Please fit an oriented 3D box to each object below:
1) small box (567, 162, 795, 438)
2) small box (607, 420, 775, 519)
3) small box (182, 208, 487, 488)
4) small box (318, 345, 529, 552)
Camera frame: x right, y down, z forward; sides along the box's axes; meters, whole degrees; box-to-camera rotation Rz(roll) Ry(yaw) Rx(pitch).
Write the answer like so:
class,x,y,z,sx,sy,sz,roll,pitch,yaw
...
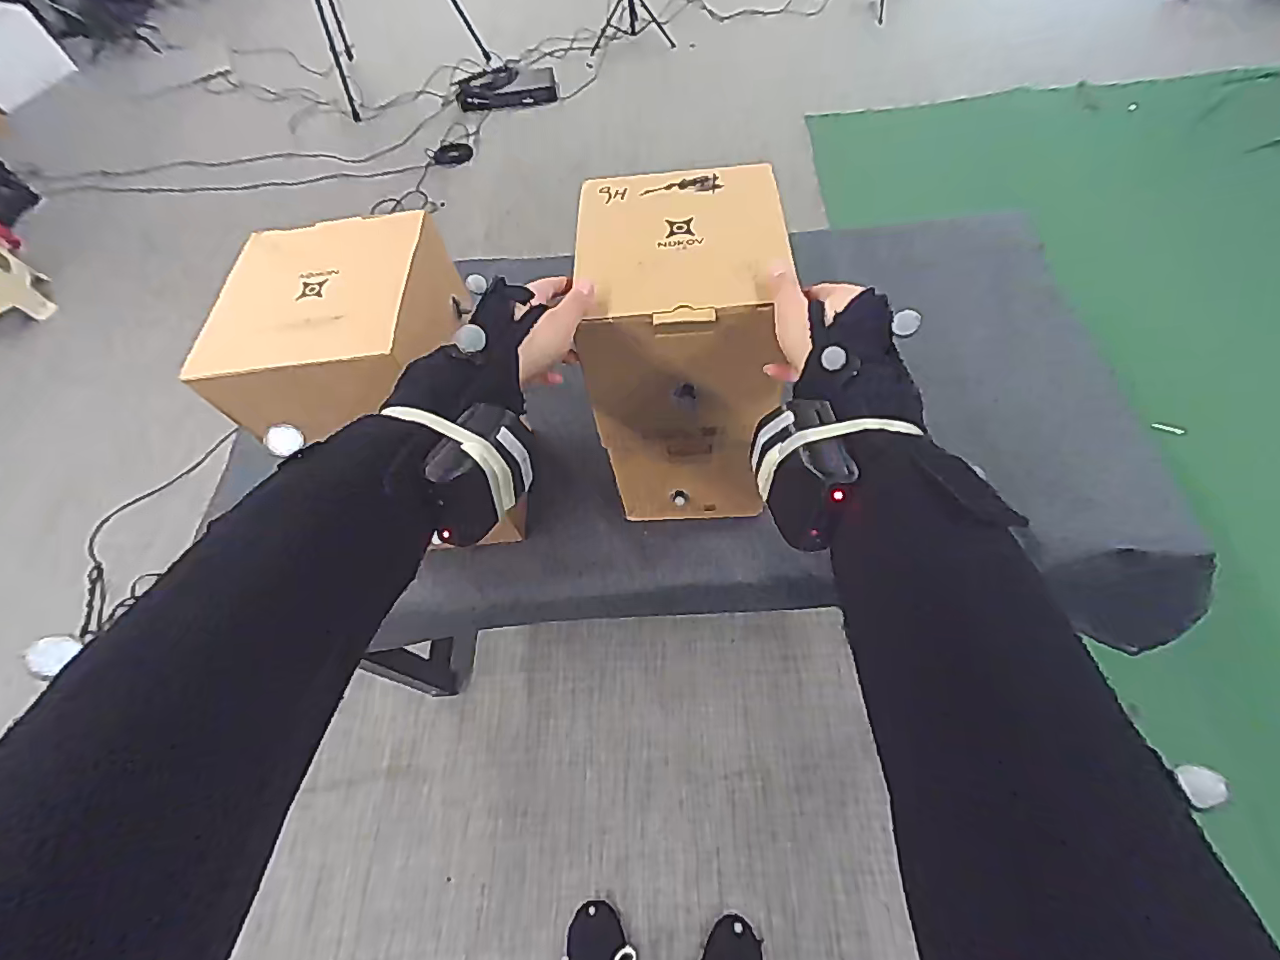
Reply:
class,x,y,z,sx,sy,sz,roll,pitch,yaw
small box,0.037,-0.148,0.489,0.168,0.176,0.179,-3,60,5
small box,0.056,-0.071,0.632,0.168,0.176,0.179,-3,59,5
small box,-0.251,-0.114,0.501,0.168,0.176,0.179,-7,60,4
small box,-0.235,-0.031,0.640,0.168,0.176,0.179,-6,60,3
